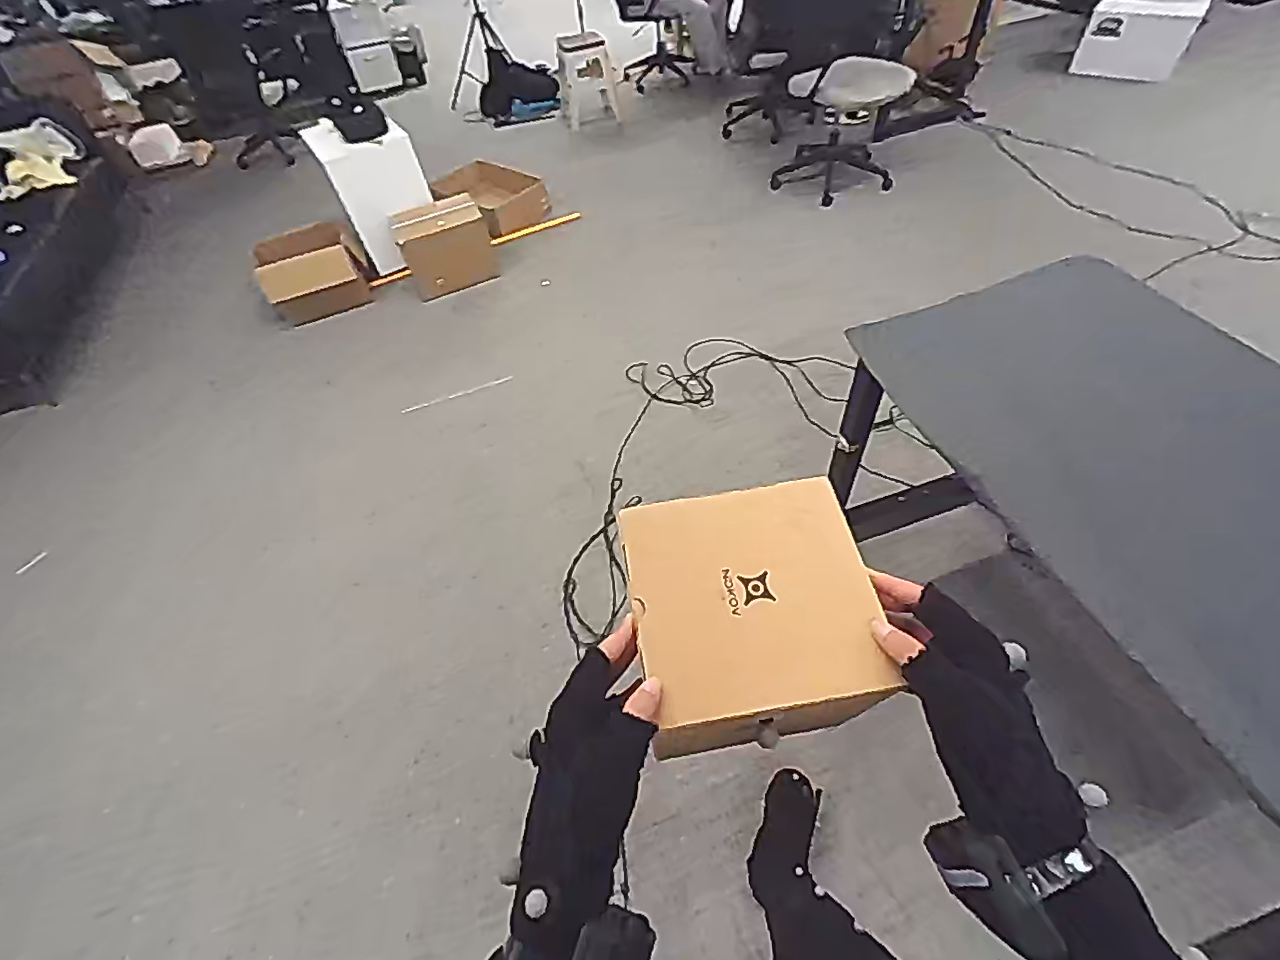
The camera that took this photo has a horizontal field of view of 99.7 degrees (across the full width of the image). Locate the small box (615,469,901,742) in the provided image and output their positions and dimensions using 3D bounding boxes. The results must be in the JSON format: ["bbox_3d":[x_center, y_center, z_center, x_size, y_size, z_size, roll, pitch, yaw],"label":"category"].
[{"bbox_3d":[0.079,0.113,0.458,0.179,0.176,0.168,-9,58,-2],"label":"small box"}]
